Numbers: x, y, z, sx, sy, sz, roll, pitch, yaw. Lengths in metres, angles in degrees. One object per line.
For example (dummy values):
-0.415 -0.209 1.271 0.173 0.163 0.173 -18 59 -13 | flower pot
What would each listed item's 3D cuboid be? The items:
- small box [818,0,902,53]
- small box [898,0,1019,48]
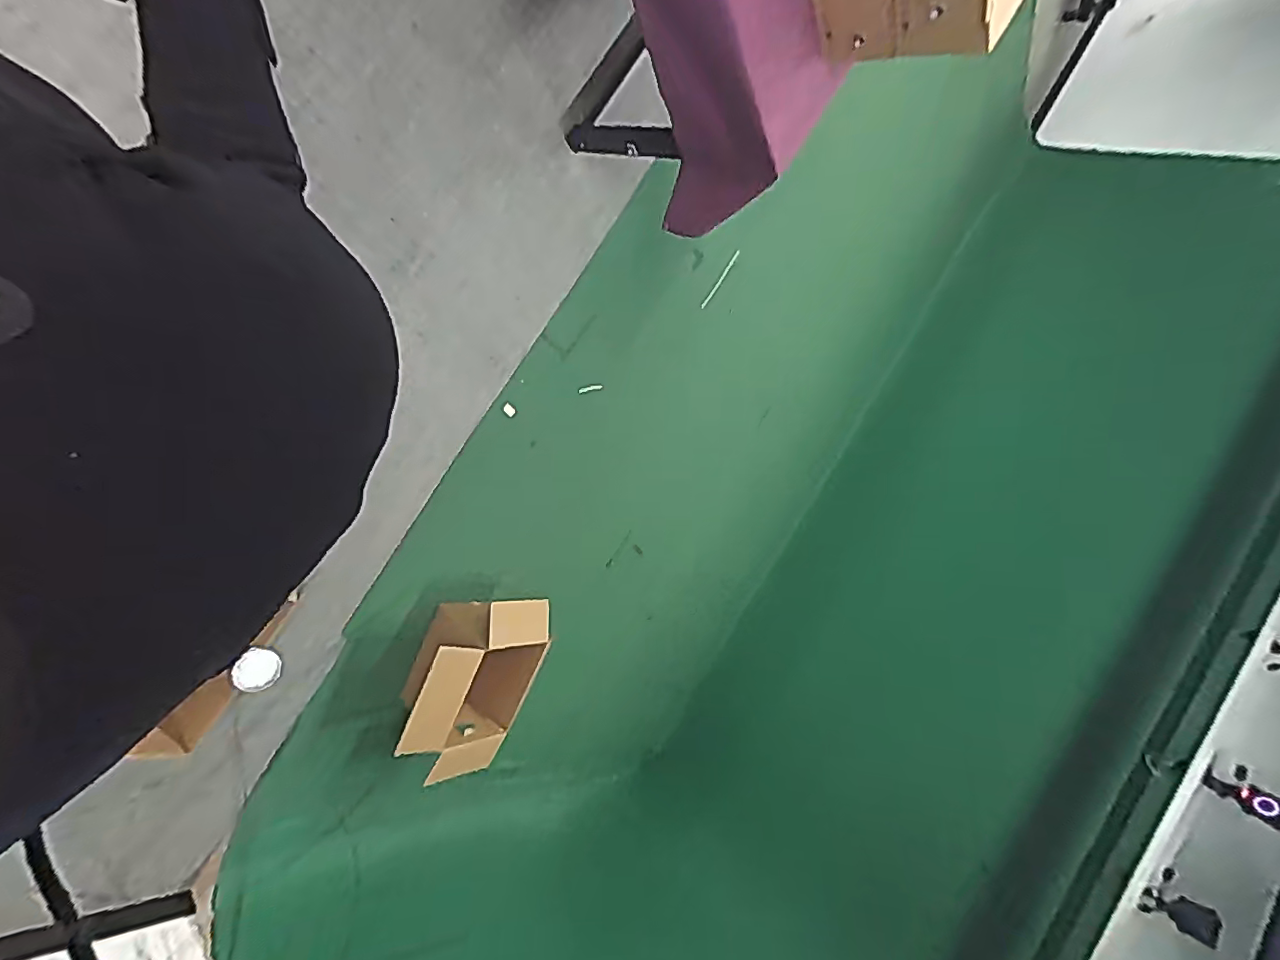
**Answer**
0.464 -0.980 1.062 0.179 0.176 0.168 -57 146 -5 | small box
0.578 -0.914 0.965 0.179 0.176 0.168 -56 146 -5 | small box
